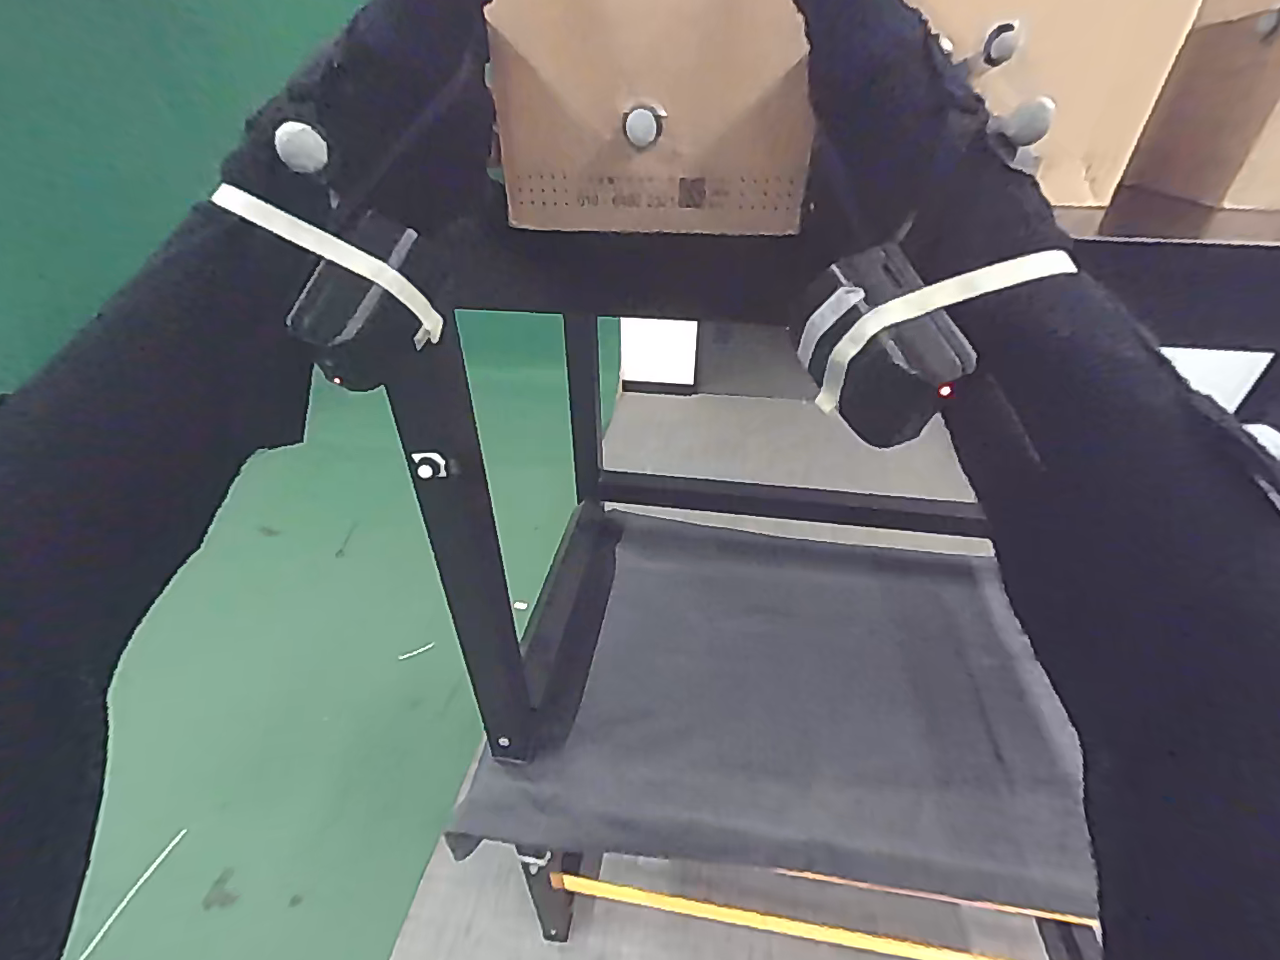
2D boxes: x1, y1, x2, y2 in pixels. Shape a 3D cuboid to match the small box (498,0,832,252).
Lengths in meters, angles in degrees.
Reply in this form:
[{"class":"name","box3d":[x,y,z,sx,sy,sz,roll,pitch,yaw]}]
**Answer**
[{"class":"small box","box3d":[0.014,-0.254,0.338,0.168,0.176,0.179,3,37,3]}]
